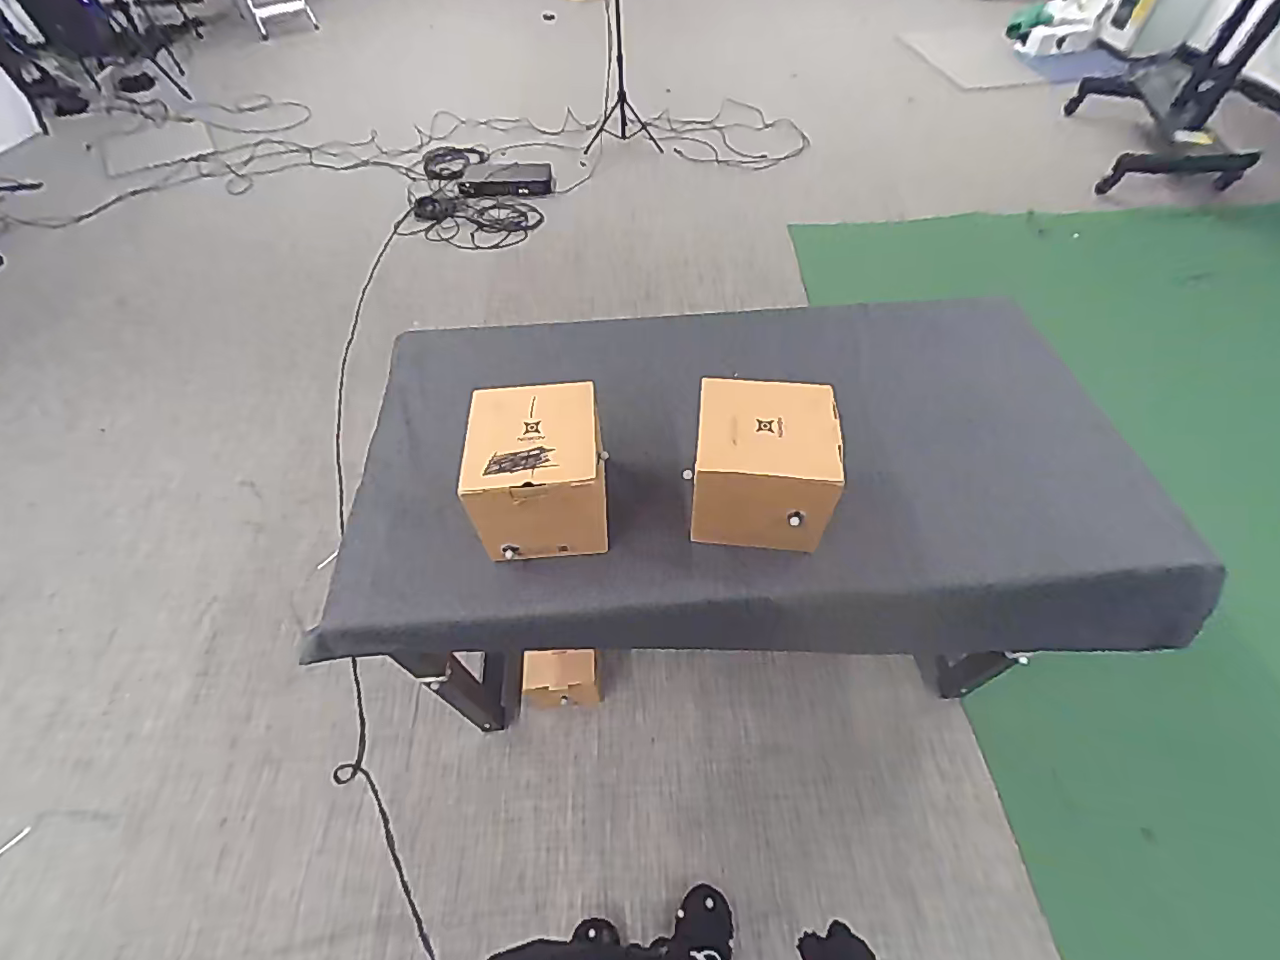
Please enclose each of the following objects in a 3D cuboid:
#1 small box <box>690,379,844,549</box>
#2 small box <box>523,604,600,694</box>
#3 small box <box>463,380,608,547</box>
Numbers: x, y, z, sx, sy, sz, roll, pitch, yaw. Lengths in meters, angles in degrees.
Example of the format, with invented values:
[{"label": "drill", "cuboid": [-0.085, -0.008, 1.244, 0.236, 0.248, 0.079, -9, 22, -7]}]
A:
[{"label": "small box", "cuboid": [0.167, -0.017, 0.753, 0.179, 0.176, 0.168, 5, 53, 6]}, {"label": "small box", "cuboid": [-0.187, 0.425, 1.341, 0.168, 0.176, 0.179, -3, 55, -1]}, {"label": "small box", "cuboid": [-0.132, -0.016, 0.755, 0.168, 0.176, 0.179, -3, 53, -1]}]
